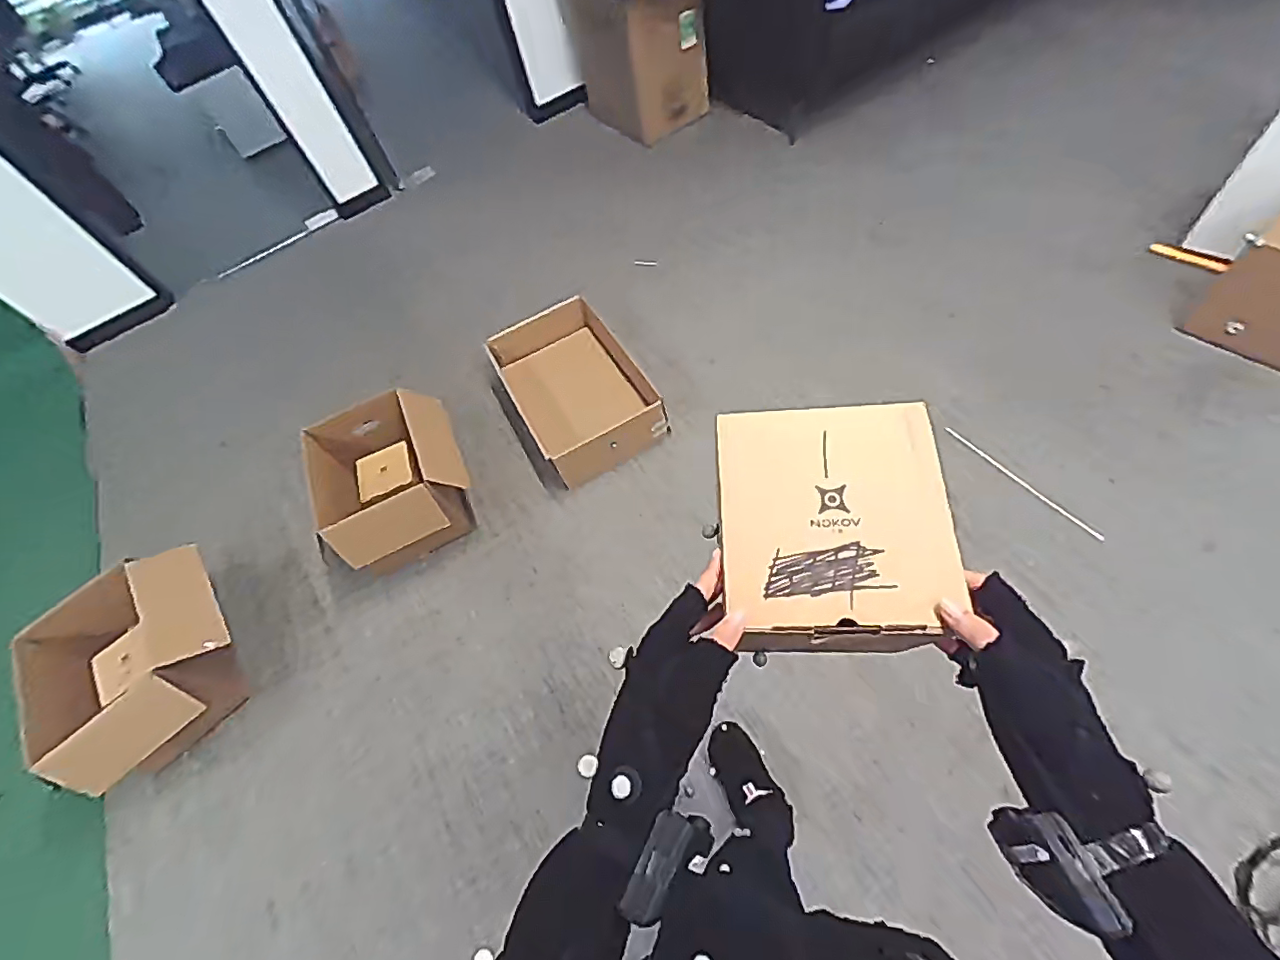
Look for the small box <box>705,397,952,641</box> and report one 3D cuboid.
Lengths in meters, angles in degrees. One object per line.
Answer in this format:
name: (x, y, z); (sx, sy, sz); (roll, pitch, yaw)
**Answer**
small box: (0.145, 0.047, 0.483); (0.168, 0.176, 0.179); (-2, 67, 7)
